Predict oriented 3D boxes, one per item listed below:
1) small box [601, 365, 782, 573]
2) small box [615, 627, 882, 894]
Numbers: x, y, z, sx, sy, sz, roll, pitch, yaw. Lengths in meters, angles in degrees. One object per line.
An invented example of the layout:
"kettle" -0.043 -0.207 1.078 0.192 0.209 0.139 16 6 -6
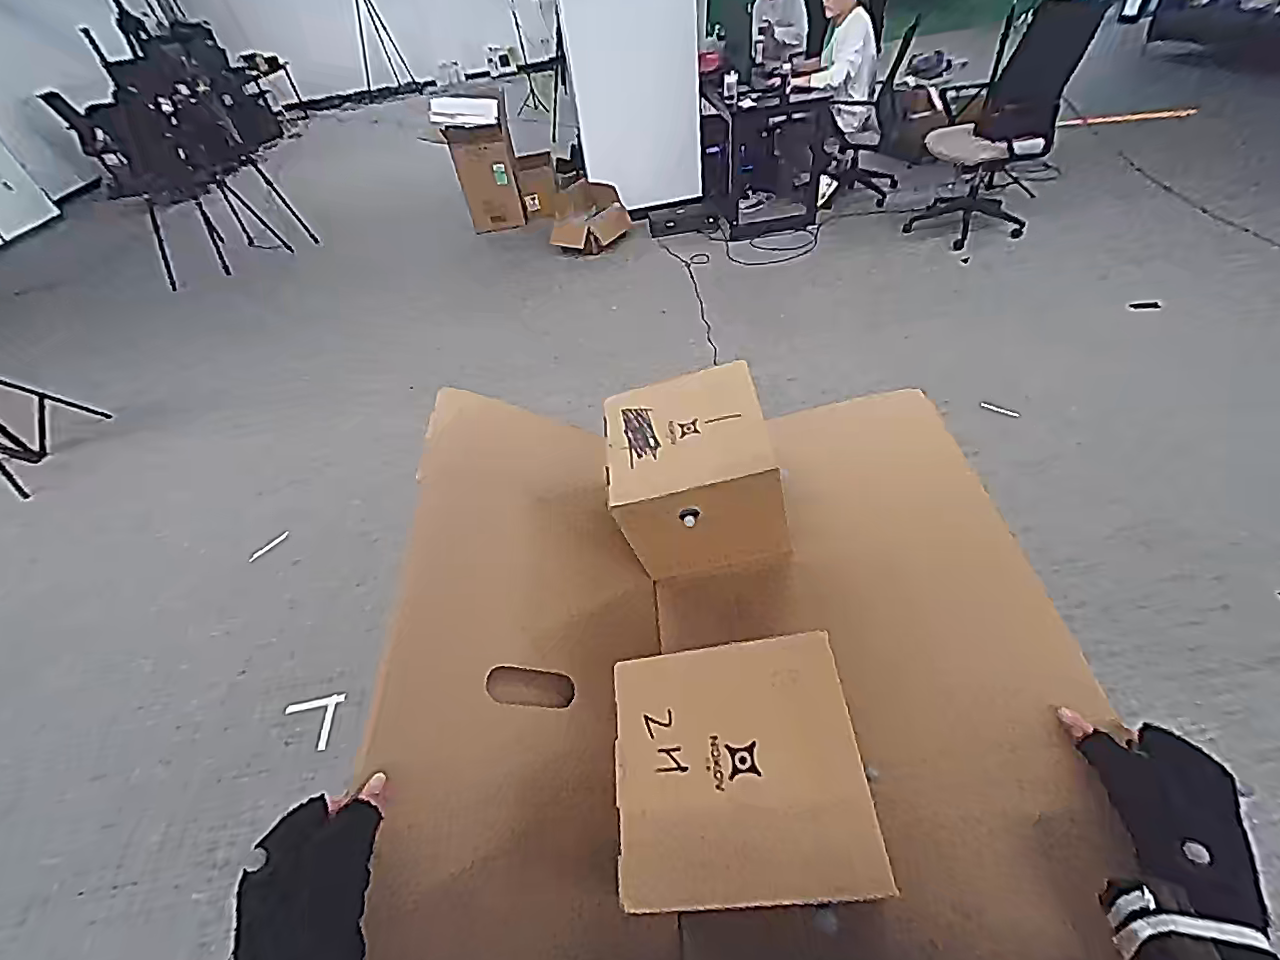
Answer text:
"small box" 0.063 -0.005 0.660 0.179 0.176 0.168 -14 51 10
"small box" 0.087 0.244 0.460 0.179 0.176 0.168 -13 51 12
